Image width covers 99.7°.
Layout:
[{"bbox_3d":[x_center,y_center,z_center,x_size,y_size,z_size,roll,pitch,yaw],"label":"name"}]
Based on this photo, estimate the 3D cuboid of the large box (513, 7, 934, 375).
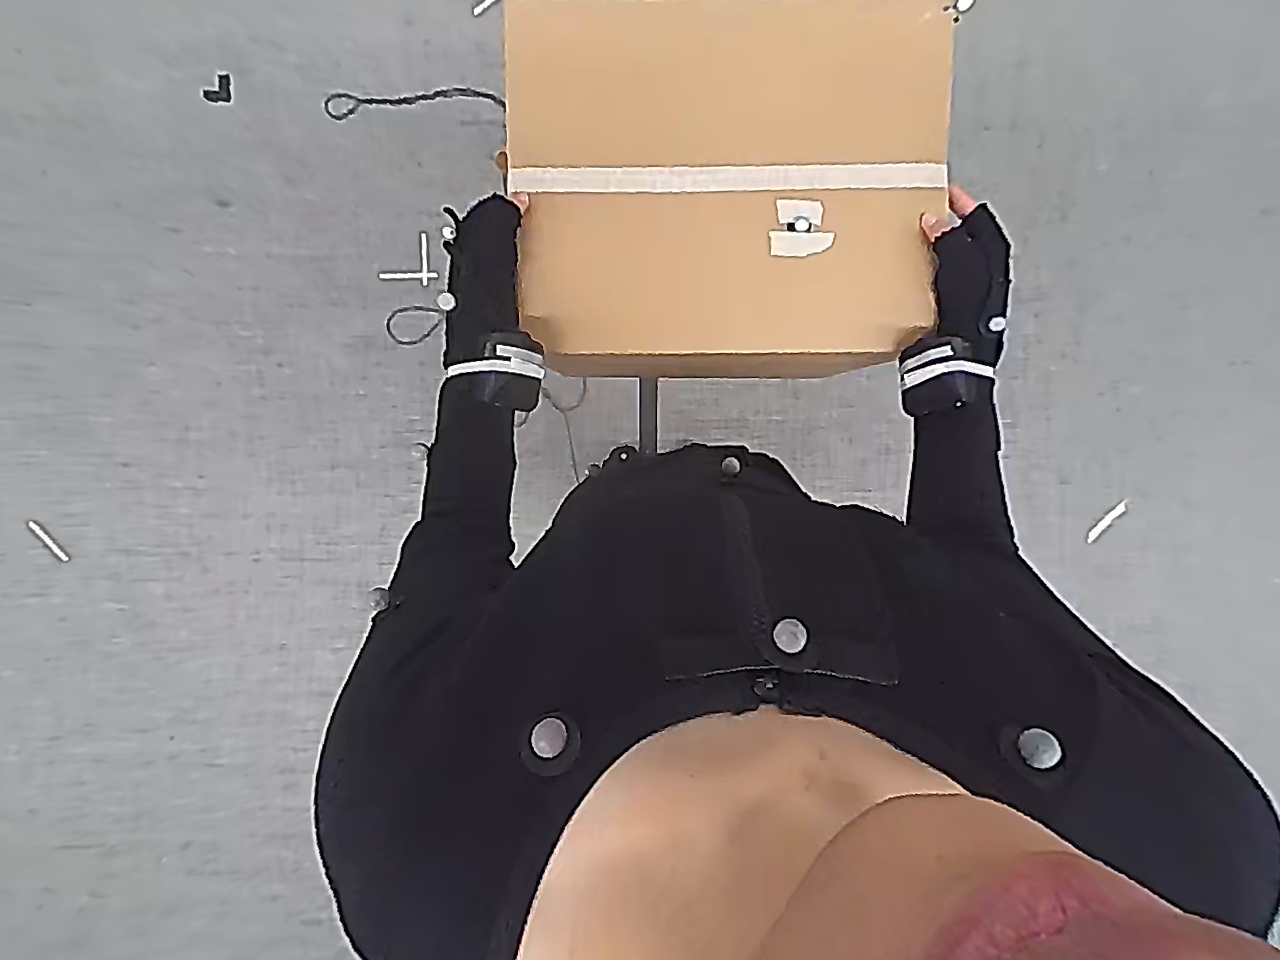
[{"bbox_3d":[0.079,-0.303,0.670,0.408,0.320,0.320,-1,97,0],"label":"large box"}]
